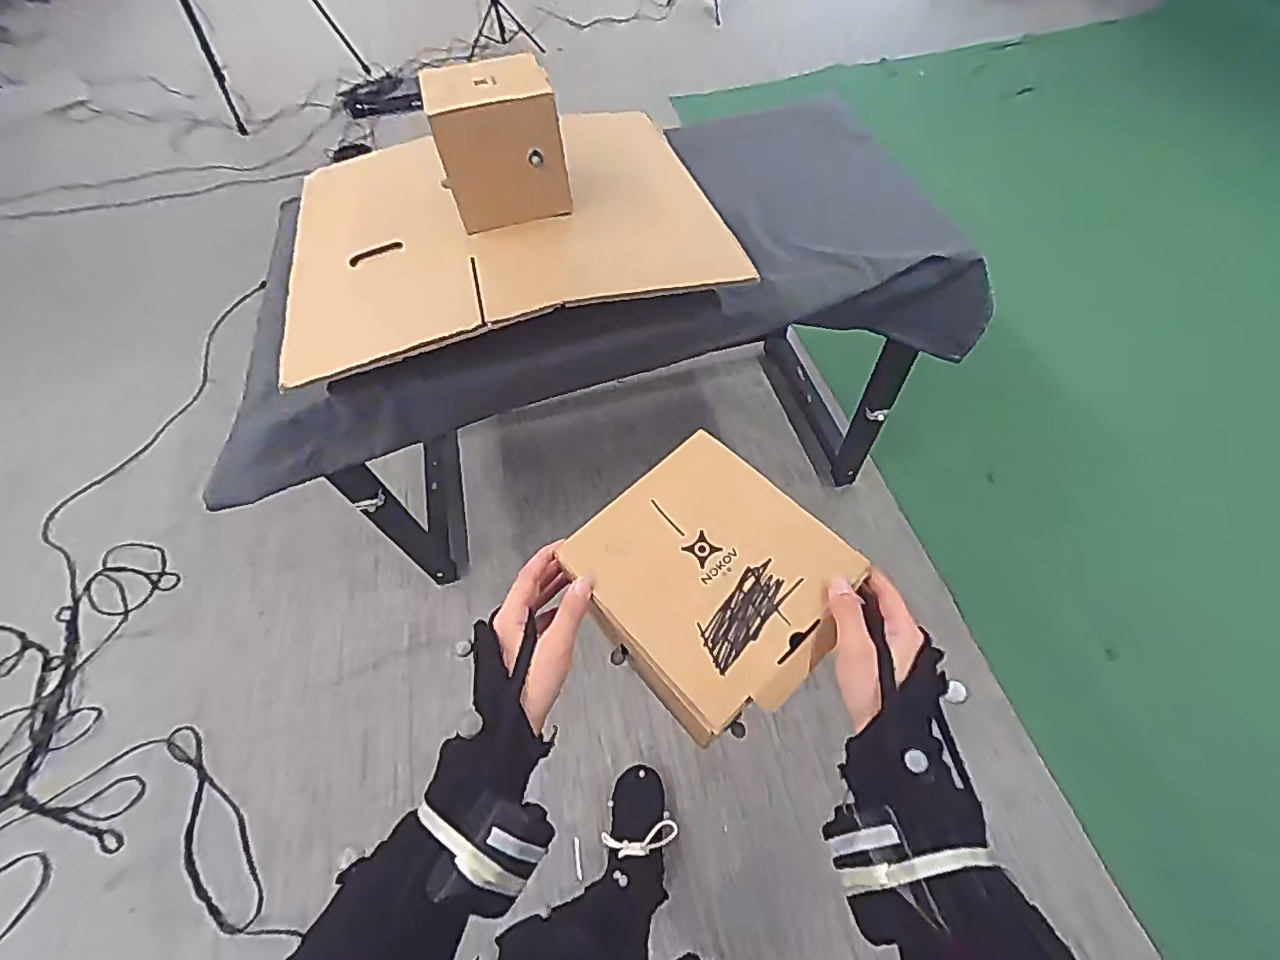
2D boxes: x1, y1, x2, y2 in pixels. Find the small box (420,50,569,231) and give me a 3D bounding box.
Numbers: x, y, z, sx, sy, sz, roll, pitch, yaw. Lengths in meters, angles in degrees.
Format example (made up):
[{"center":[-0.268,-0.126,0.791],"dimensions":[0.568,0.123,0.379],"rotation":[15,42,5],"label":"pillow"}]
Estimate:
[{"center":[-0.213,-0.512,0.824],"dimensions":[0.179,0.176,0.168],"rotation":[-16,55,-6],"label":"small box"}]
